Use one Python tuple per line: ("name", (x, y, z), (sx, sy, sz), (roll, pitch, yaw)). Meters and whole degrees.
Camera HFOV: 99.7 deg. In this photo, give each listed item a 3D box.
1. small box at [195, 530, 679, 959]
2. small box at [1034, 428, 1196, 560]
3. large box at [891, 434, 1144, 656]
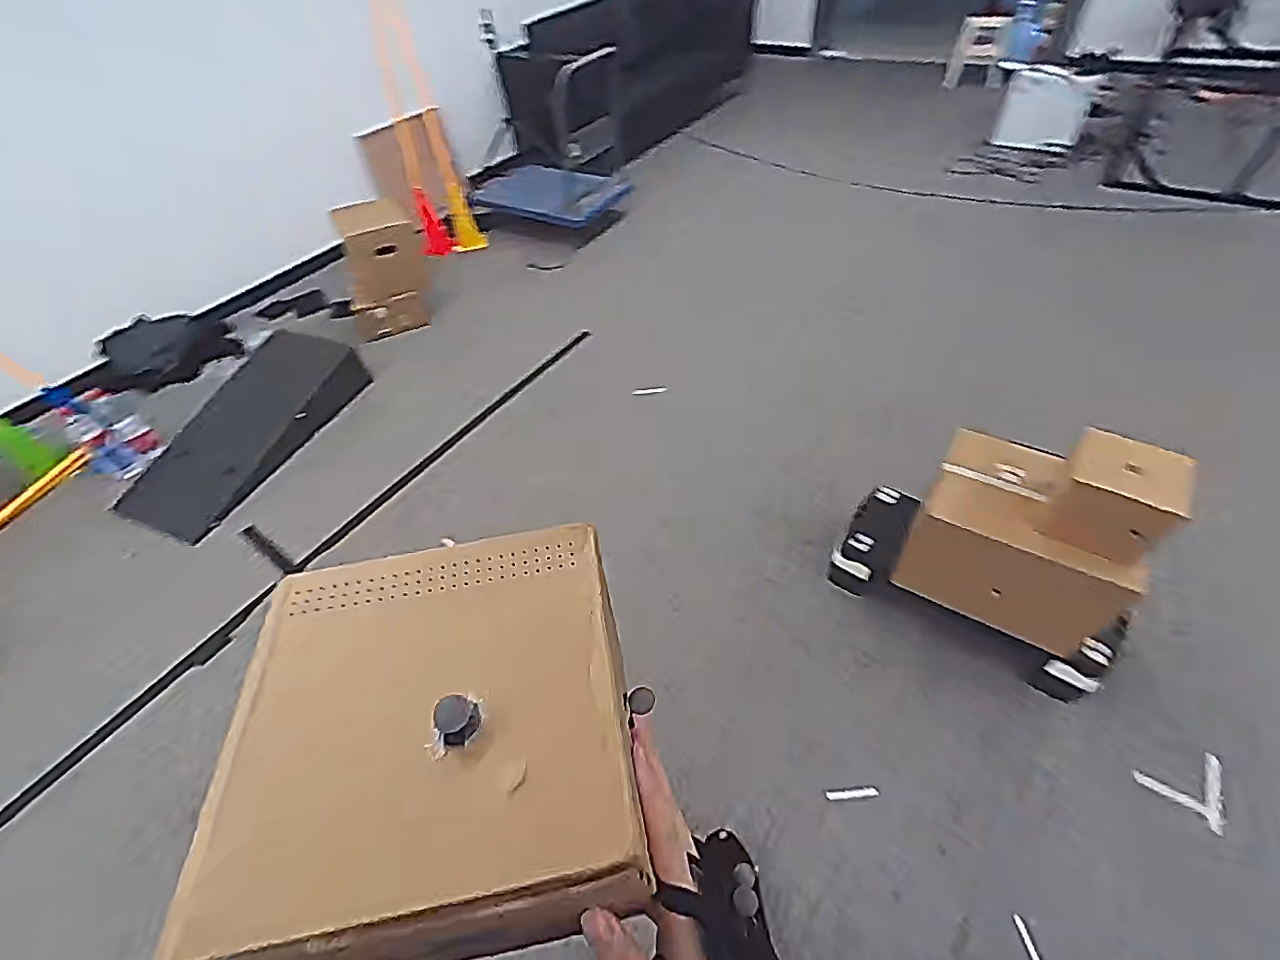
("small box", (-0.083, 0.147, 0.307), (0.179, 0.168, 0.176), (-10, 44, -4))
("small box", (0.930, 0.032, 1.069), (0.179, 0.176, 0.168), (26, 57, 27))
("large box", (0.885, 0.150, 1.299), (0.408, 0.320, 0.320), (22, 54, 25))
